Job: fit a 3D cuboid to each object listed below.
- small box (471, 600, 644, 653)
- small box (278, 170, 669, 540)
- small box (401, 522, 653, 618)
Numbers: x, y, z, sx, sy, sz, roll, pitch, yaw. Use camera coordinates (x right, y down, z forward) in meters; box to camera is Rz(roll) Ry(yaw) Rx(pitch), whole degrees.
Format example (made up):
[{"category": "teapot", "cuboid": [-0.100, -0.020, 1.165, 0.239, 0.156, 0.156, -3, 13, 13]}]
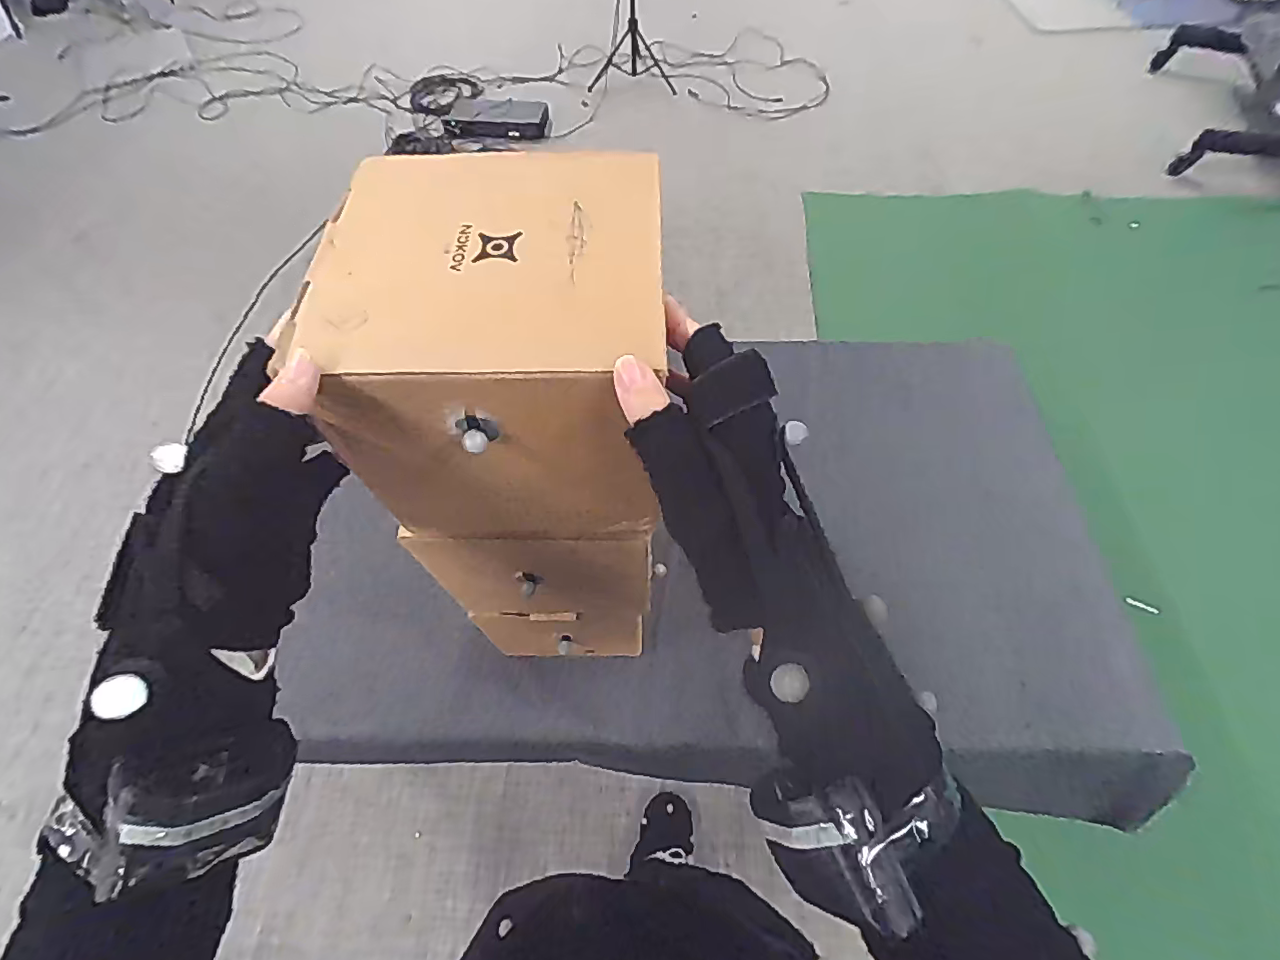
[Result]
[{"category": "small box", "cuboid": [-0.079, 0.098, 0.625, 0.168, 0.176, 0.179, -1, 60, 1]}, {"category": "small box", "cuboid": [-0.073, -0.067, 0.345, 0.179, 0.176, 0.168, 0, 61, -1]}, {"category": "small box", "cuboid": [-0.076, 0.019, 0.481, 0.179, 0.176, 0.168, 0, 60, 2]}]
